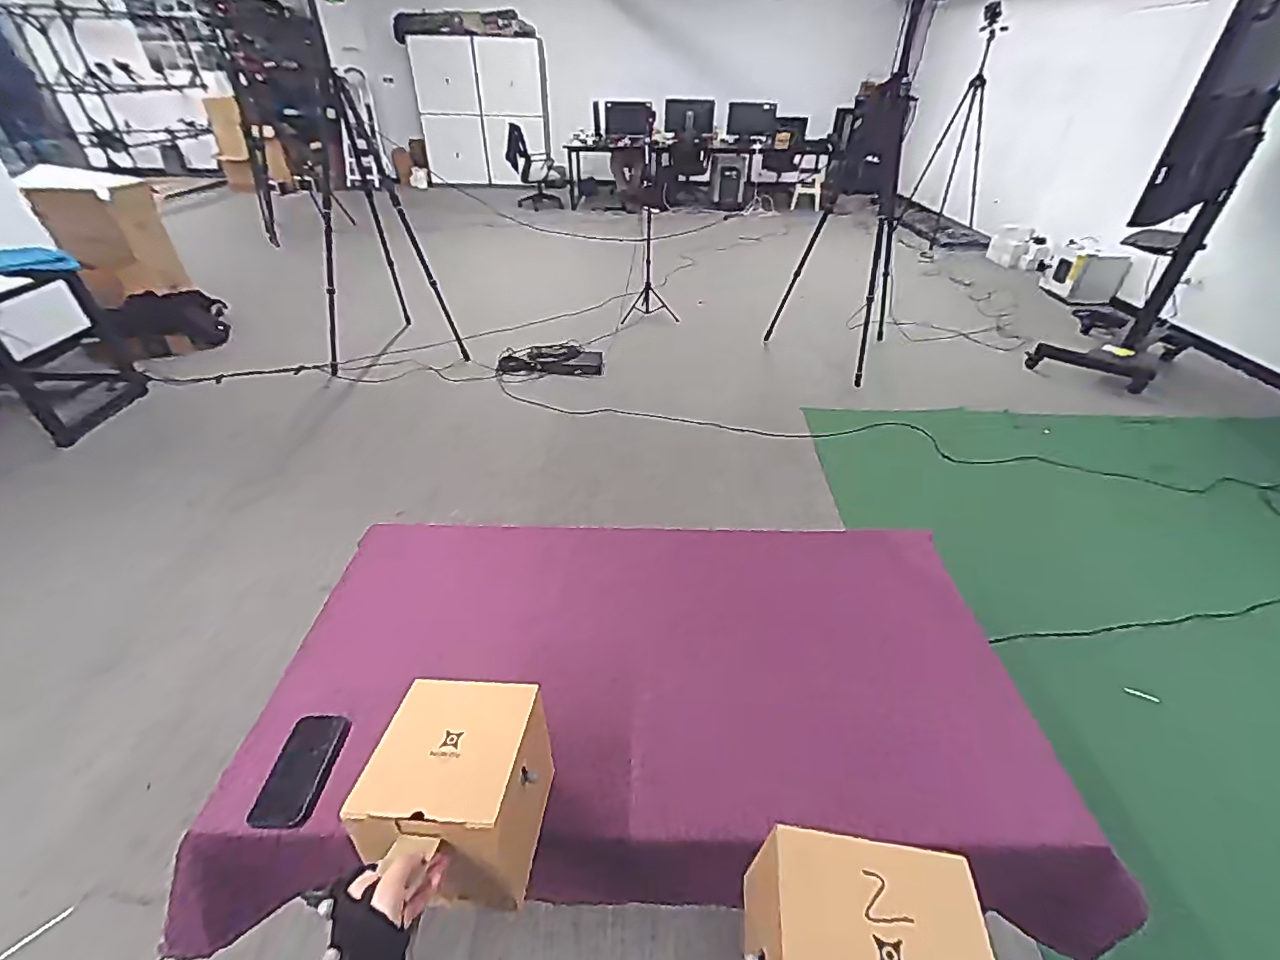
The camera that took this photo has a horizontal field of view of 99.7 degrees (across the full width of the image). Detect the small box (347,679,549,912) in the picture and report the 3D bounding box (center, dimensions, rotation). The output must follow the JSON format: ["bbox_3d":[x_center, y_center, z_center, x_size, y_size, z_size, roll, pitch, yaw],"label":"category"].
[{"bbox_3d":[-0.211,0.372,0.653,0.168,0.176,0.179,2,29,6],"label":"small box"}]
